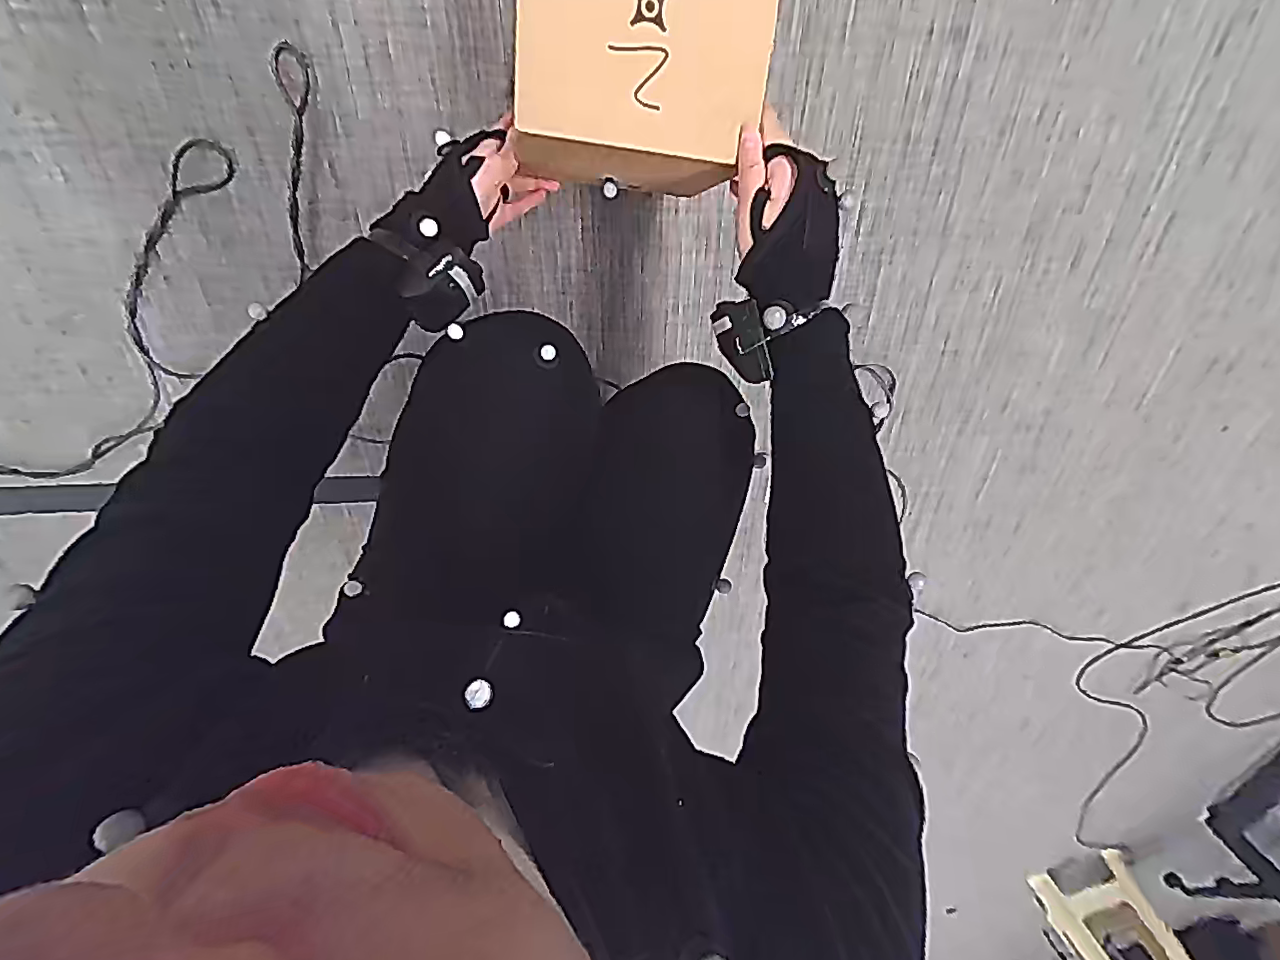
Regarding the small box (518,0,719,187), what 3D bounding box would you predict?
[{"bbox_3d":[-0.032,-0.411,0.567,0.179,0.176,0.168,2,120,-9],"label":"small box"}]
